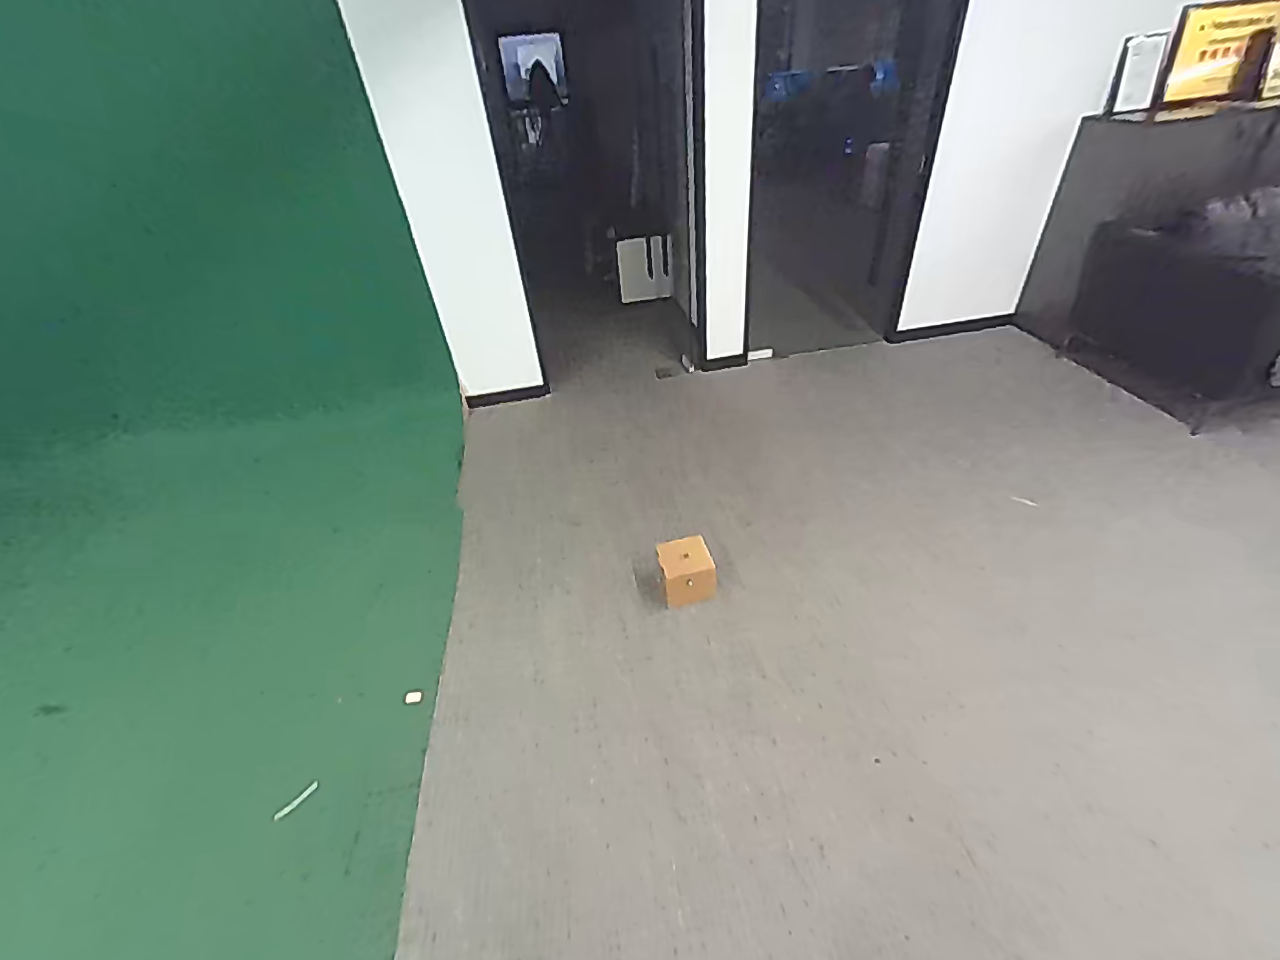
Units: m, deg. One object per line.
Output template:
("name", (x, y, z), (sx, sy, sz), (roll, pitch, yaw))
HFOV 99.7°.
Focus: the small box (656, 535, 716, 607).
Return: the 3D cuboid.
("small box", (0.160, 0.323, 1.918), (0.179, 0.176, 0.168), (-12, 39, -6))
